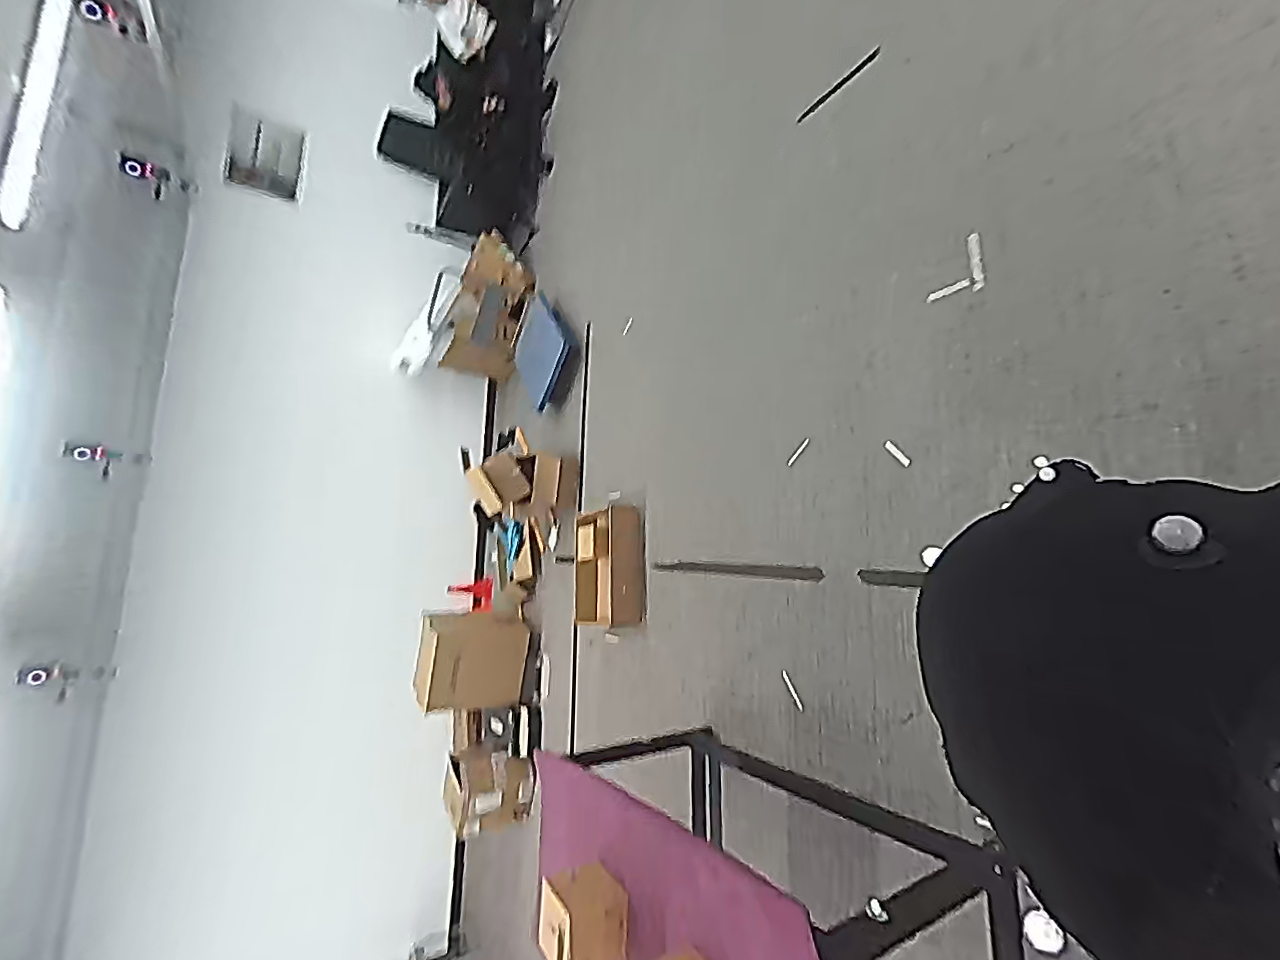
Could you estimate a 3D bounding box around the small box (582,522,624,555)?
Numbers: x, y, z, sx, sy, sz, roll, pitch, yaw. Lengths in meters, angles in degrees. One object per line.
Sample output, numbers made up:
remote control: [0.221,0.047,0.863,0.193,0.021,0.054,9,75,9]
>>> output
small box: [-0.203,0.322,2.945,0.179,0.176,0.168,-19,69,55]

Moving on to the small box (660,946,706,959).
small box: [0.085,1.080,1.065,0.168,0.176,0.179,-12,74,57]
